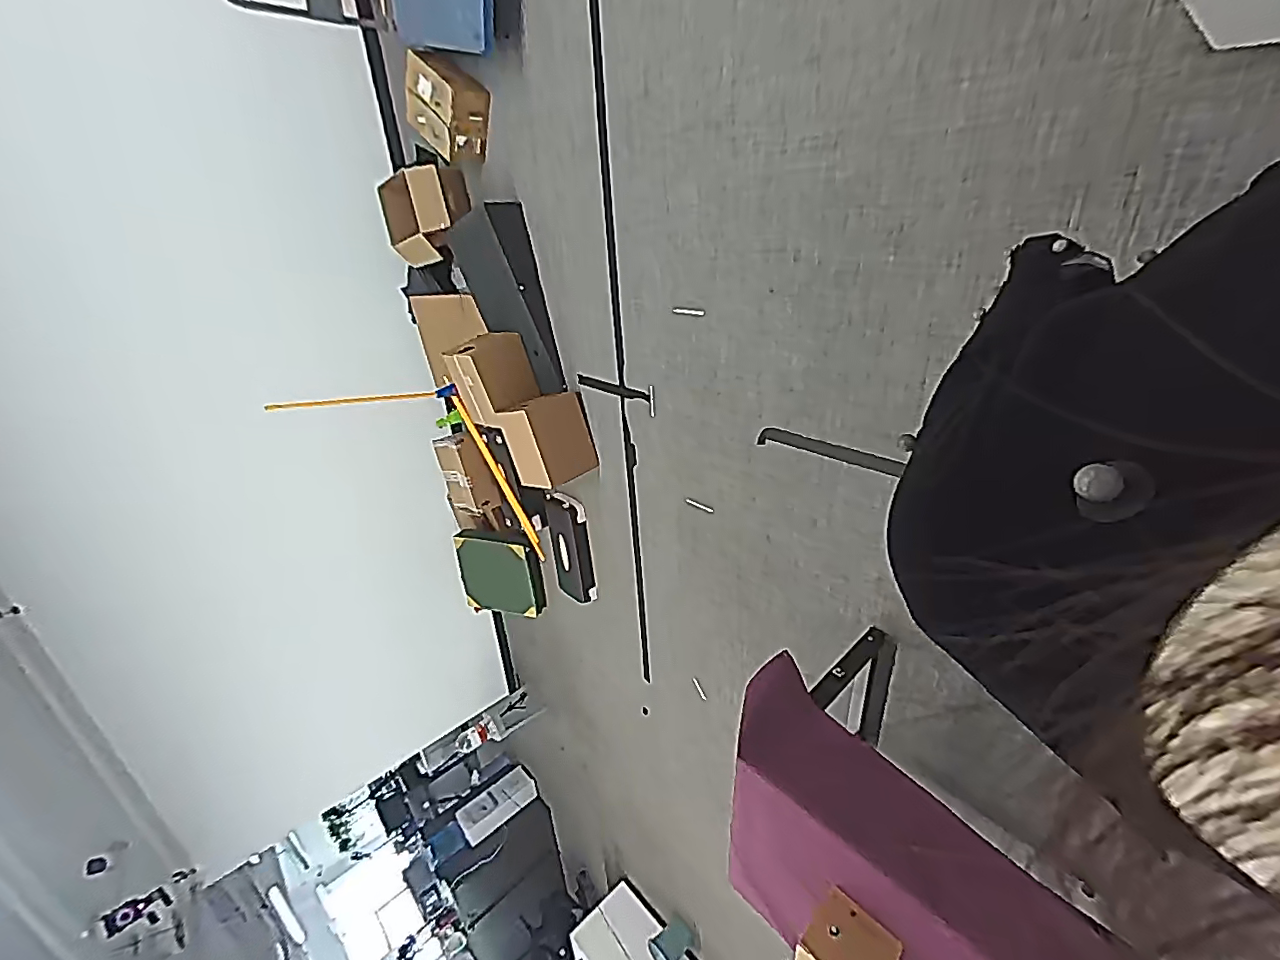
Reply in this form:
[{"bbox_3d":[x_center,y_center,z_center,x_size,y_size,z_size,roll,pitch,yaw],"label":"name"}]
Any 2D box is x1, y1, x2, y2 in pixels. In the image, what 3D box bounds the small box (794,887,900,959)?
[{"bbox_3d":[0.468,1.092,1.231,0.168,0.176,0.179,24,127,43],"label":"small box"}]
